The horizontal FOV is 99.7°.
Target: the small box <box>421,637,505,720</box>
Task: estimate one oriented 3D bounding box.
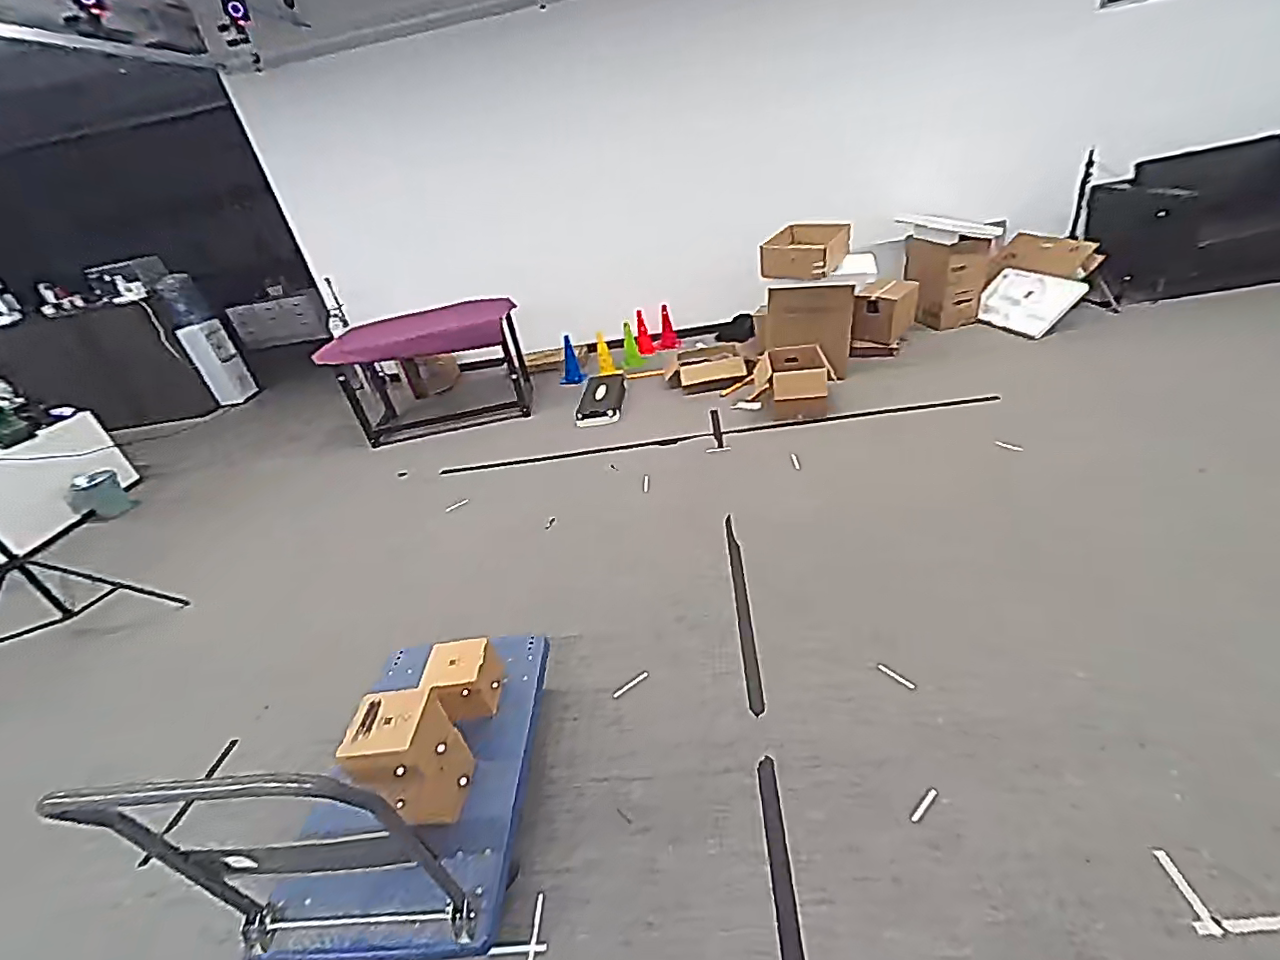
[{"bbox_3d":[-0.534,0.611,1.652,0.179,0.176,0.168,-9,32,3],"label":"small box"}]

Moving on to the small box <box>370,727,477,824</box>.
[{"bbox_3d":[-0.552,0.767,1.403,0.179,0.176,0.168,-5,33,8],"label":"small box"}]
